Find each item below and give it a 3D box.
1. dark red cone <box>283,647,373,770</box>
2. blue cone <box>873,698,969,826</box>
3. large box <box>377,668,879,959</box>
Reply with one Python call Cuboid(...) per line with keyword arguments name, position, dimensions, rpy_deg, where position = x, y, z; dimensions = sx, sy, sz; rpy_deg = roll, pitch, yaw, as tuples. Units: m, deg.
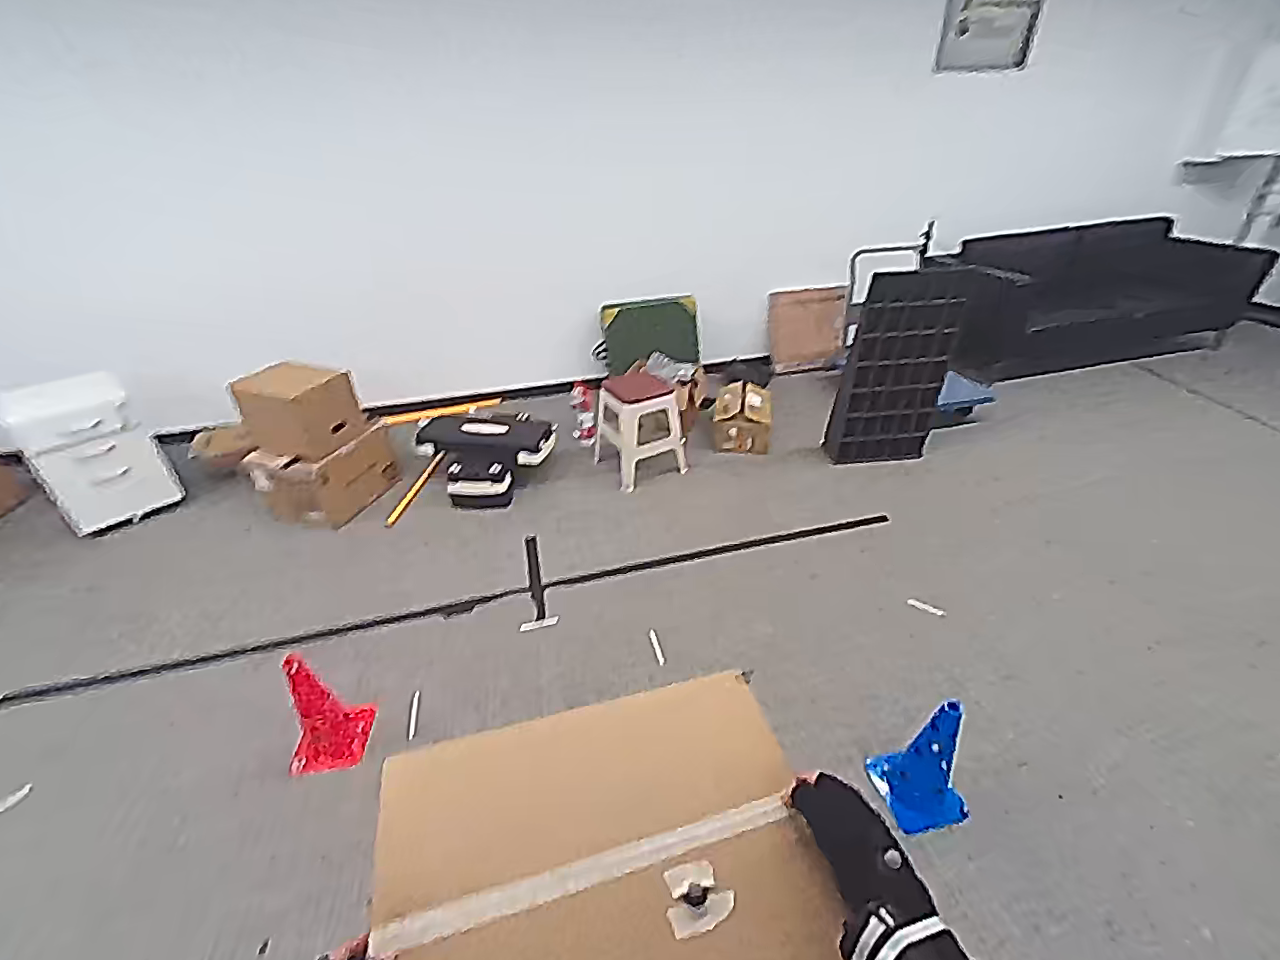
Cuboid(name="dark red cone", position=(-0.915, 0.619, 1.518), dimensions=(0.201, 0.394, 0.202), rpy_deg=(-6, 32, -7))
Cuboid(name="blue cone", position=(0.747, 0.686, 1.371), dimensions=(0.192, 0.380, 0.193), rpy_deg=(-7, 33, -9))
Cuboid(name="large box", position=(-0.037, 0.470, 0.591), dimensions=(0.408, 0.320, 0.320), rpy_deg=(-9, 38, -15))
